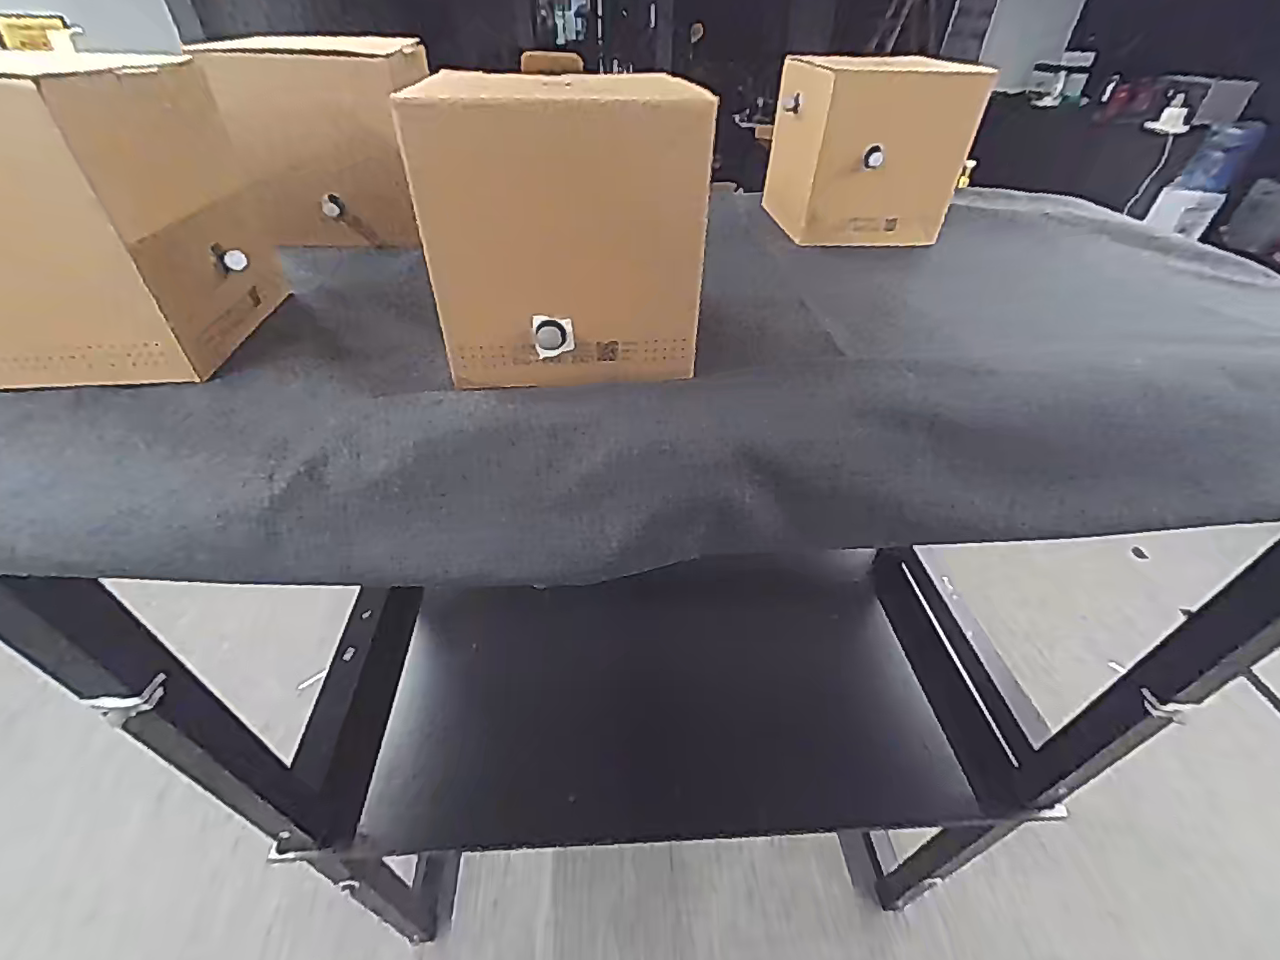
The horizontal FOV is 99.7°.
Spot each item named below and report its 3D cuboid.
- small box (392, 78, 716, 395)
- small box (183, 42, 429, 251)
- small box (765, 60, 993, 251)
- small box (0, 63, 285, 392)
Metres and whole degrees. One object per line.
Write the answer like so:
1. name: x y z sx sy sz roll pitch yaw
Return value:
1. small box: -0.053 -0.176 0.385 0.168 0.176 0.179 -5 40 -7
2. small box: -0.319 -0.356 0.584 0.179 0.176 0.168 -2 40 -6
3. small box: 0.256 -0.378 0.632 0.168 0.176 0.179 -2 41 -4
4. small box: -0.384 -0.168 0.359 0.179 0.176 0.168 -3 40 -7
